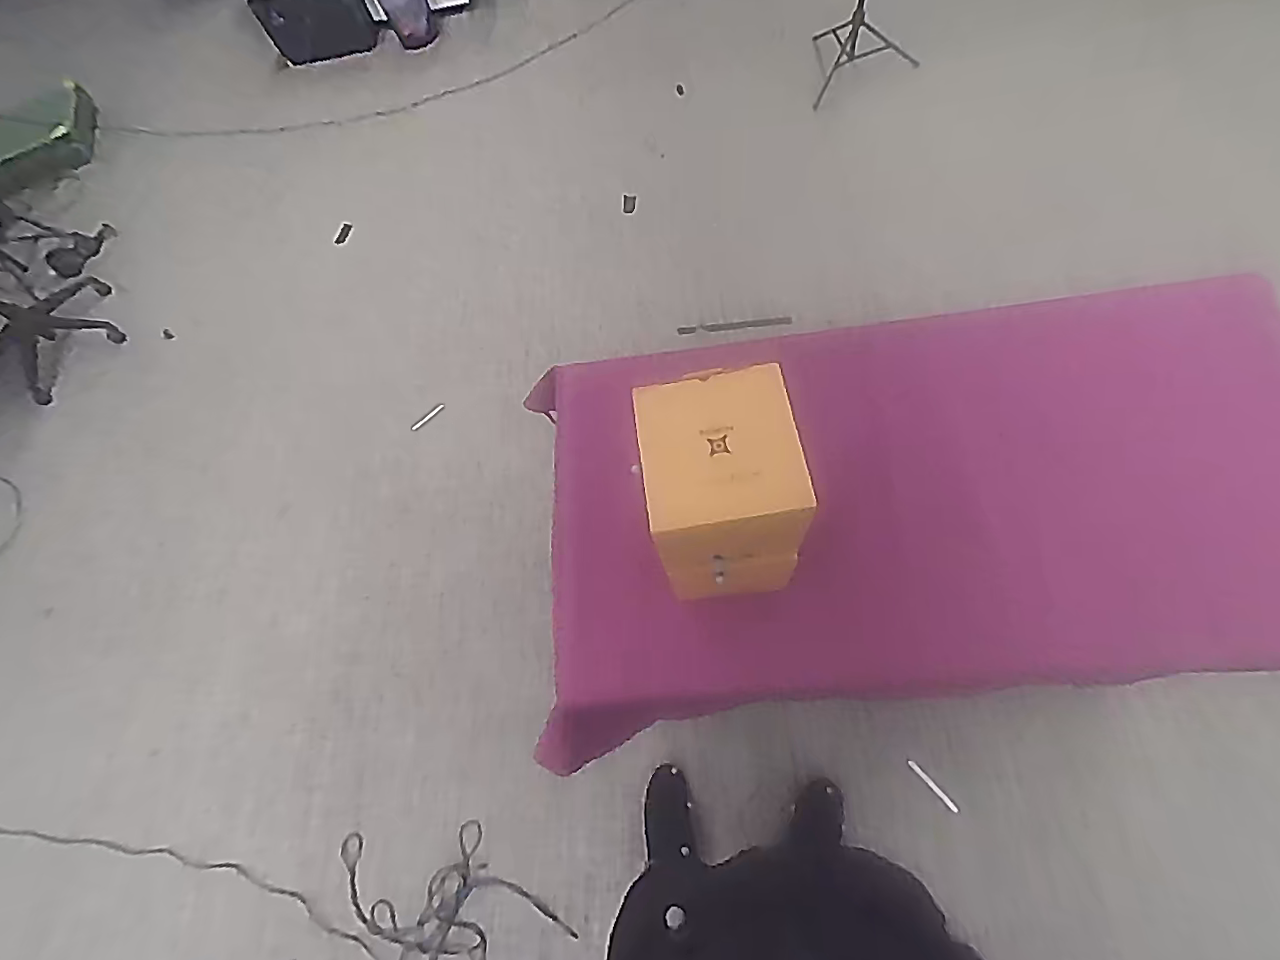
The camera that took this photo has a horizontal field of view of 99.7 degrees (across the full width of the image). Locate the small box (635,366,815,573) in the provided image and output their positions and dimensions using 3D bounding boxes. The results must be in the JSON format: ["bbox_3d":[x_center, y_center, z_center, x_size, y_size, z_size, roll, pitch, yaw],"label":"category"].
[{"bbox_3d":[0.092,-0.004,0.635,0.168,0.176,0.179,-9,65,5],"label":"small box"}]

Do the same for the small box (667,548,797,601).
[{"bbox_3d":[0.120,0.064,0.782,0.168,0.176,0.179,-8,65,6],"label":"small box"}]
